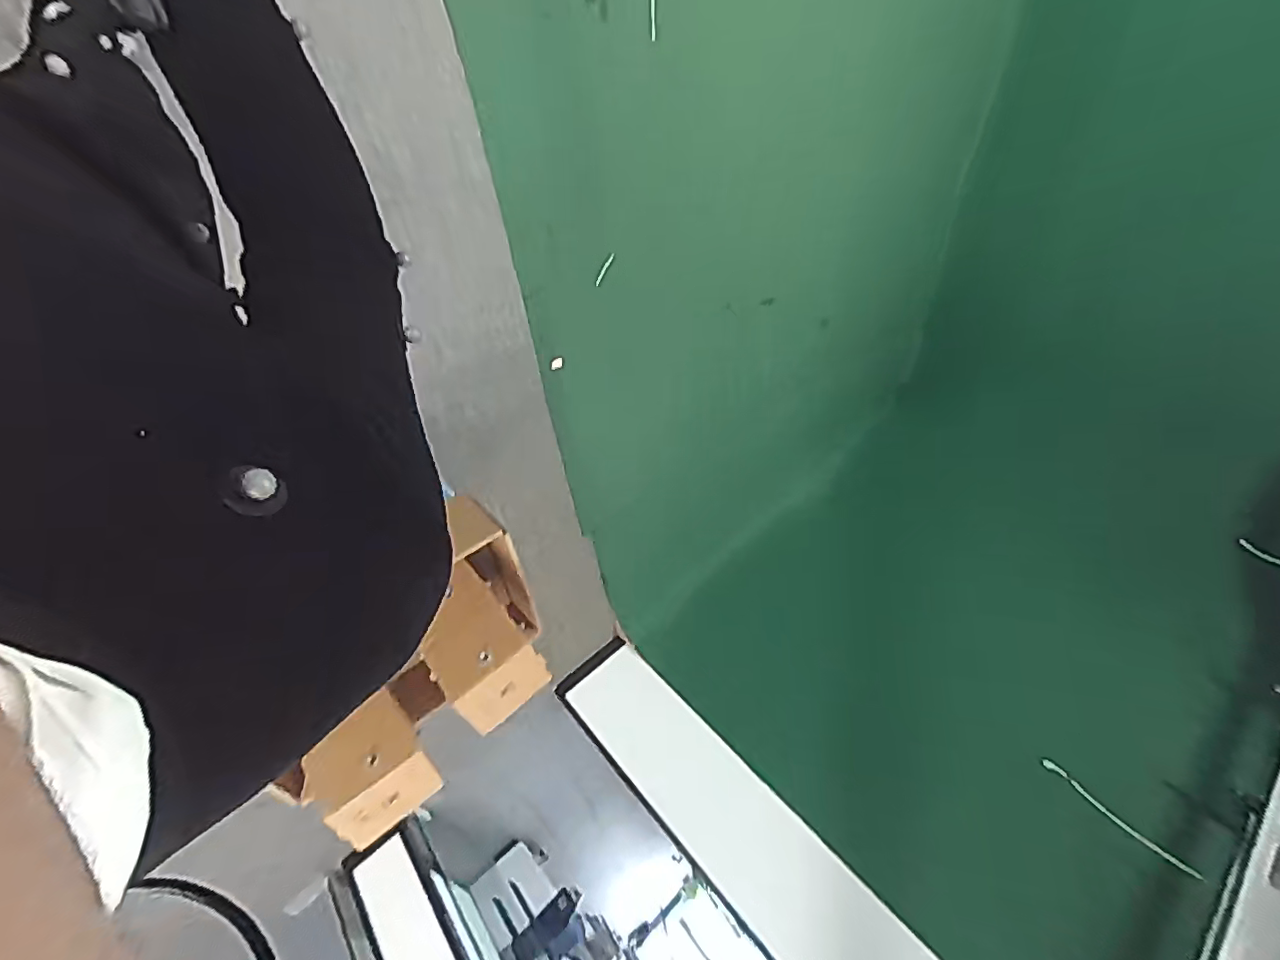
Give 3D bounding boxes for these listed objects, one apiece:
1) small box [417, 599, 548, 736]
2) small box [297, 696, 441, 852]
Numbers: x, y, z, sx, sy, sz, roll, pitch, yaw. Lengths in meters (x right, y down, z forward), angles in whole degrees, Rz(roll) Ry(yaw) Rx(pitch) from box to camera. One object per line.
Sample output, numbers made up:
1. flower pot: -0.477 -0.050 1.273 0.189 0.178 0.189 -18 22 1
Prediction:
1. small box: -0.324 0.380 1.119 0.179 0.176 0.168 -35 140 -21
2. small box: -0.520 0.557 1.043 0.179 0.176 0.168 -30 137 -29
